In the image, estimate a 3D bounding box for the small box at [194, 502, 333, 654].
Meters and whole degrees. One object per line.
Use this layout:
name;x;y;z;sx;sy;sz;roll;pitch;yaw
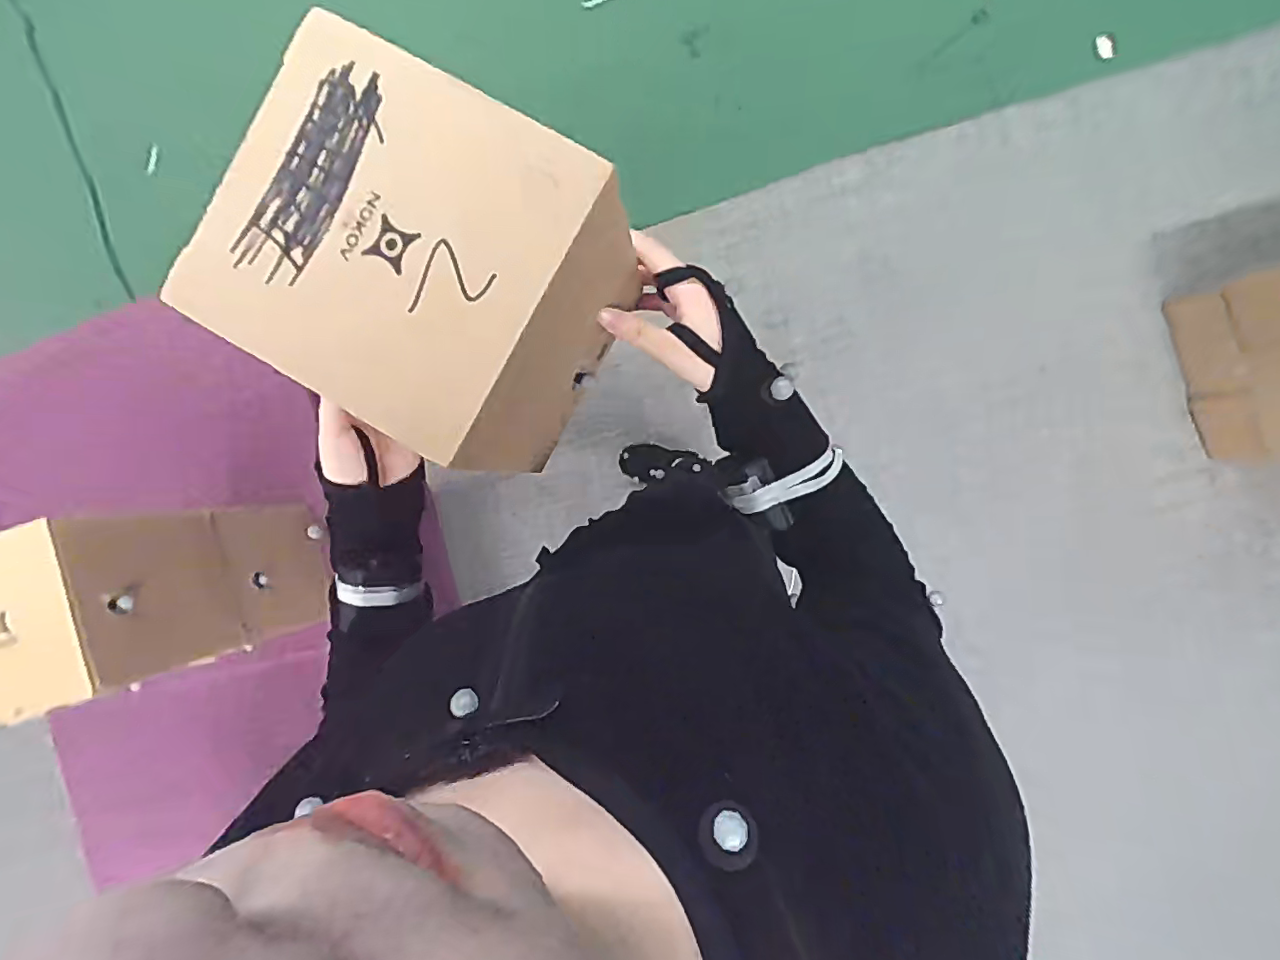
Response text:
small box;-0.569;0.137;0.756;0.168;0.176;0.179;-17;88;7

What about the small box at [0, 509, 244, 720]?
small box;-0.590;0.135;0.594;0.168;0.176;0.179;-17;89;7

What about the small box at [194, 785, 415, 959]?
small box;-0.447;0.555;0.743;0.179;0.176;0.168;-16;89;8
